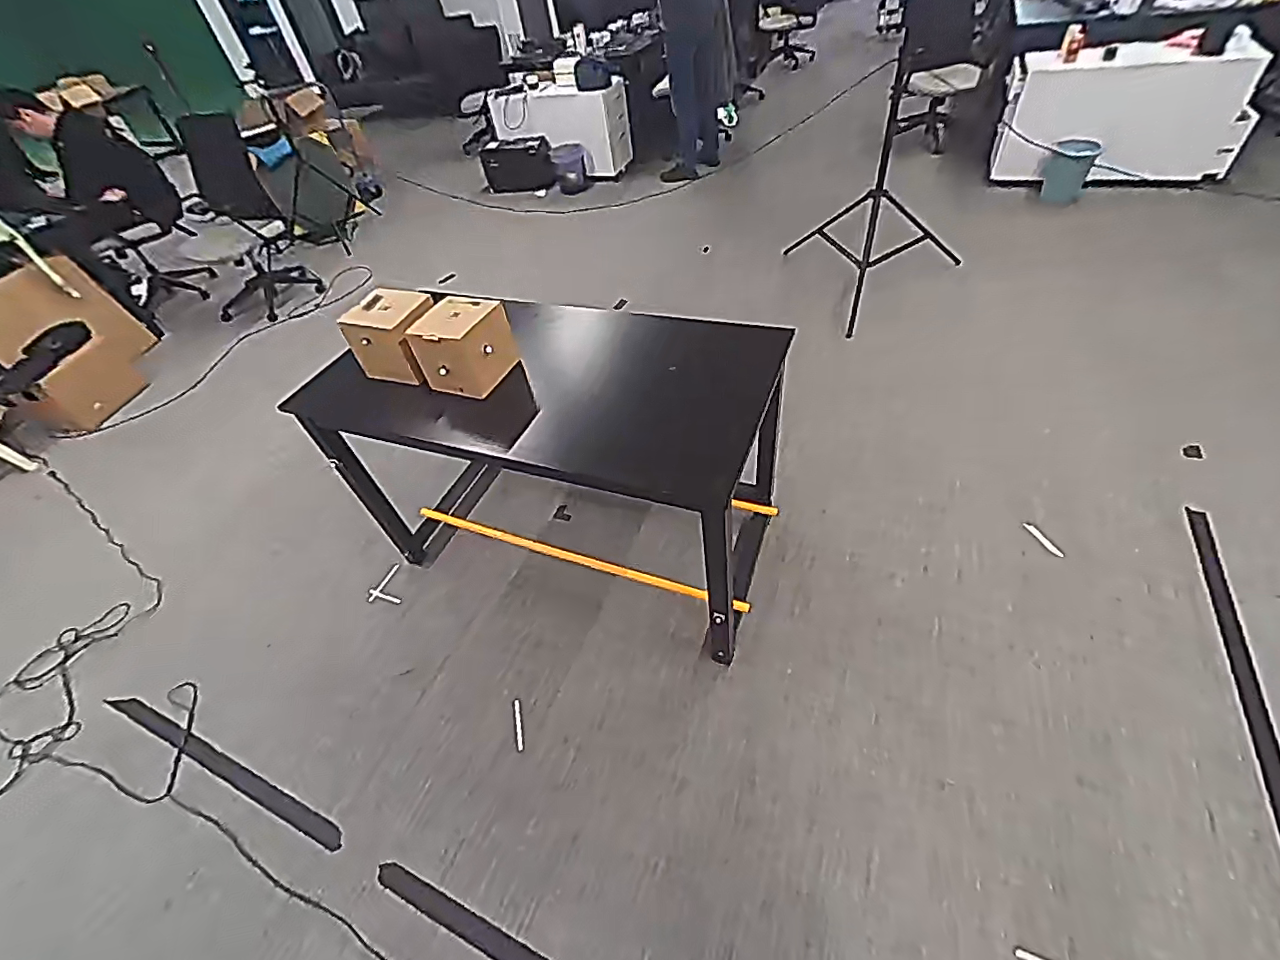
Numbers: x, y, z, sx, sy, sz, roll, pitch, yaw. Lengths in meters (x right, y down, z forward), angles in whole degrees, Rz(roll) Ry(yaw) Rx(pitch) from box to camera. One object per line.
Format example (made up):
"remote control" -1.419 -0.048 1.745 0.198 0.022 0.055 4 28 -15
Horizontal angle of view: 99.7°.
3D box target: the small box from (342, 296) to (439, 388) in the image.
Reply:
"small box" -0.625 -0.361 1.420 0.179 0.176 0.168 11 50 18

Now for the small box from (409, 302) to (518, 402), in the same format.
"small box" -0.428 -0.317 1.347 0.168 0.176 0.179 13 51 21
